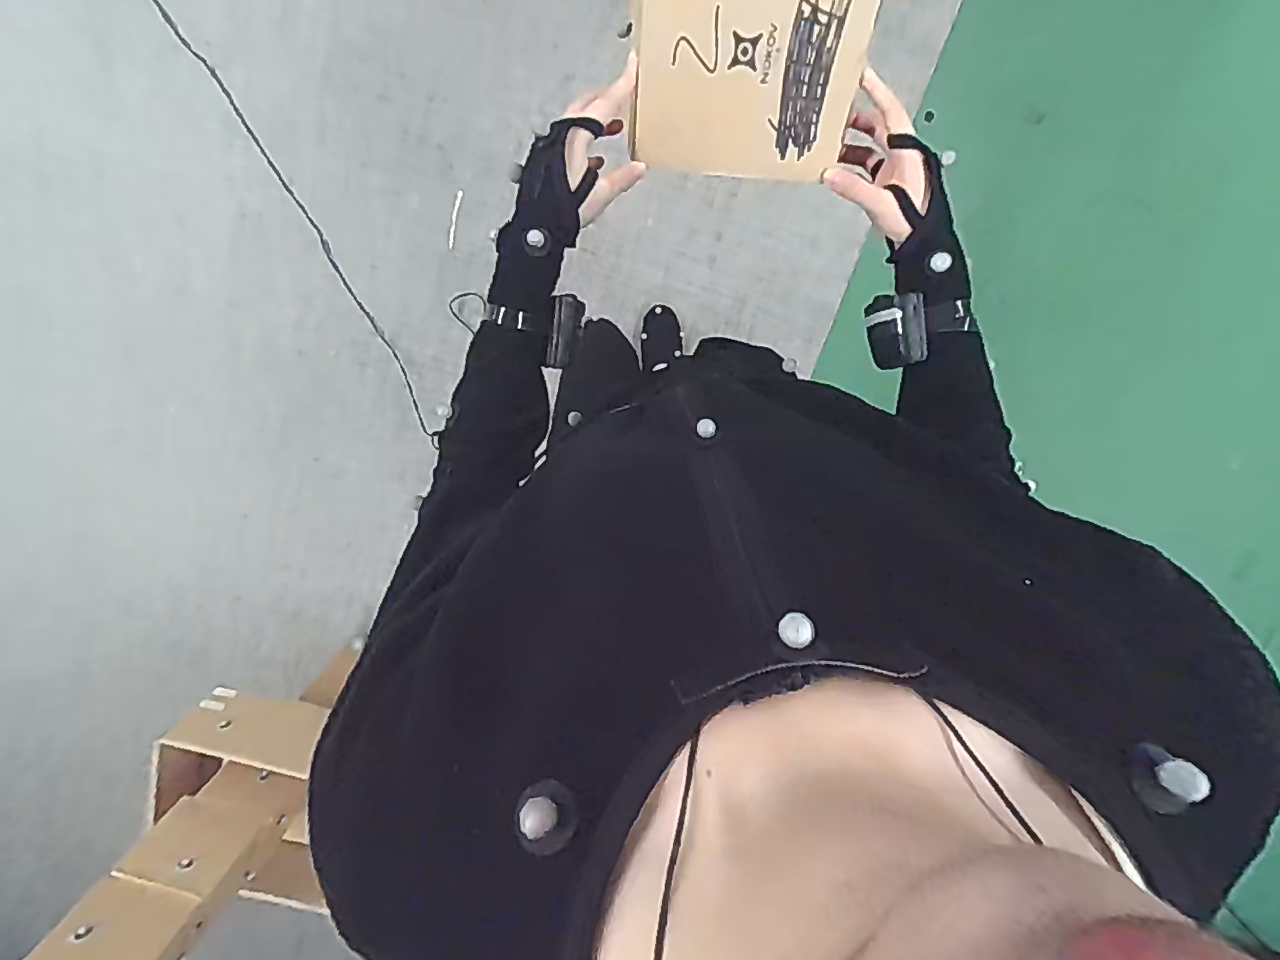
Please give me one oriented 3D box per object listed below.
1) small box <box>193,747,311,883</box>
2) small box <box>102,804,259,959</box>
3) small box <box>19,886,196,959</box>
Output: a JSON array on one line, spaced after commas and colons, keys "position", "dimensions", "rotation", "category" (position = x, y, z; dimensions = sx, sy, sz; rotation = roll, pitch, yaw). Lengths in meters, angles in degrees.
[{"position": [-0.883, 0.747, 1.222], "dimensions": [0.168, 0.176, 0.179], "rotation": [23, 104, -5], "category": "small box"}, {"position": [-0.898, 0.782, 1.063], "dimensions": [0.179, 0.176, 0.168], "rotation": [22, 104, -4], "category": "small box"}, {"position": [-0.909, 0.831, 0.907], "dimensions": [0.179, 0.176, 0.168], "rotation": [21, 105, -5], "category": "small box"}]
